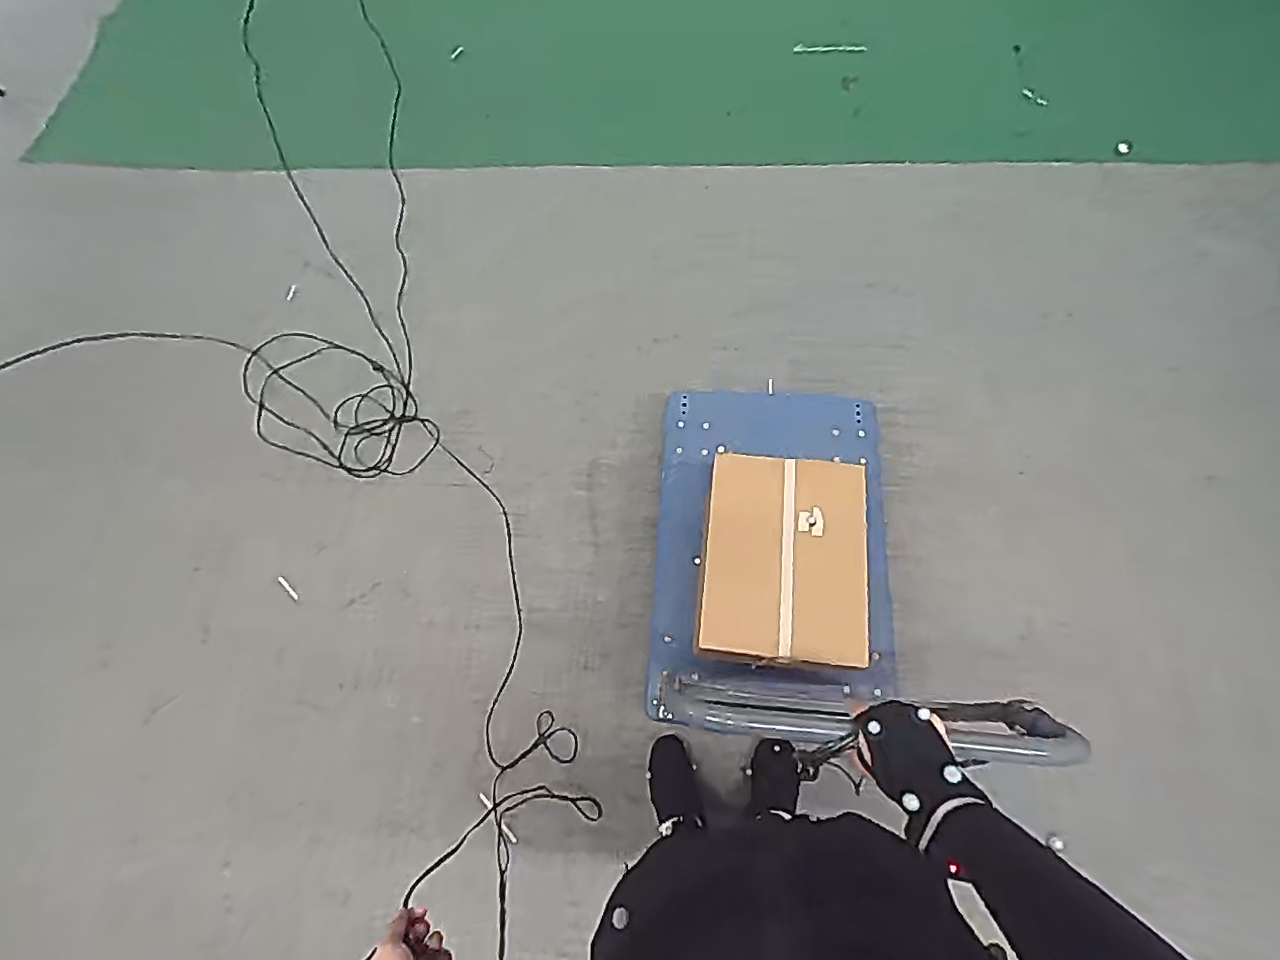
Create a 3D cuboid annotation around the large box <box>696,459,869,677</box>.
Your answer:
[{"bbox_3d":[0.292,0.207,1.195,0.320,0.320,0.408,6,69,5],"label":"large box"}]
